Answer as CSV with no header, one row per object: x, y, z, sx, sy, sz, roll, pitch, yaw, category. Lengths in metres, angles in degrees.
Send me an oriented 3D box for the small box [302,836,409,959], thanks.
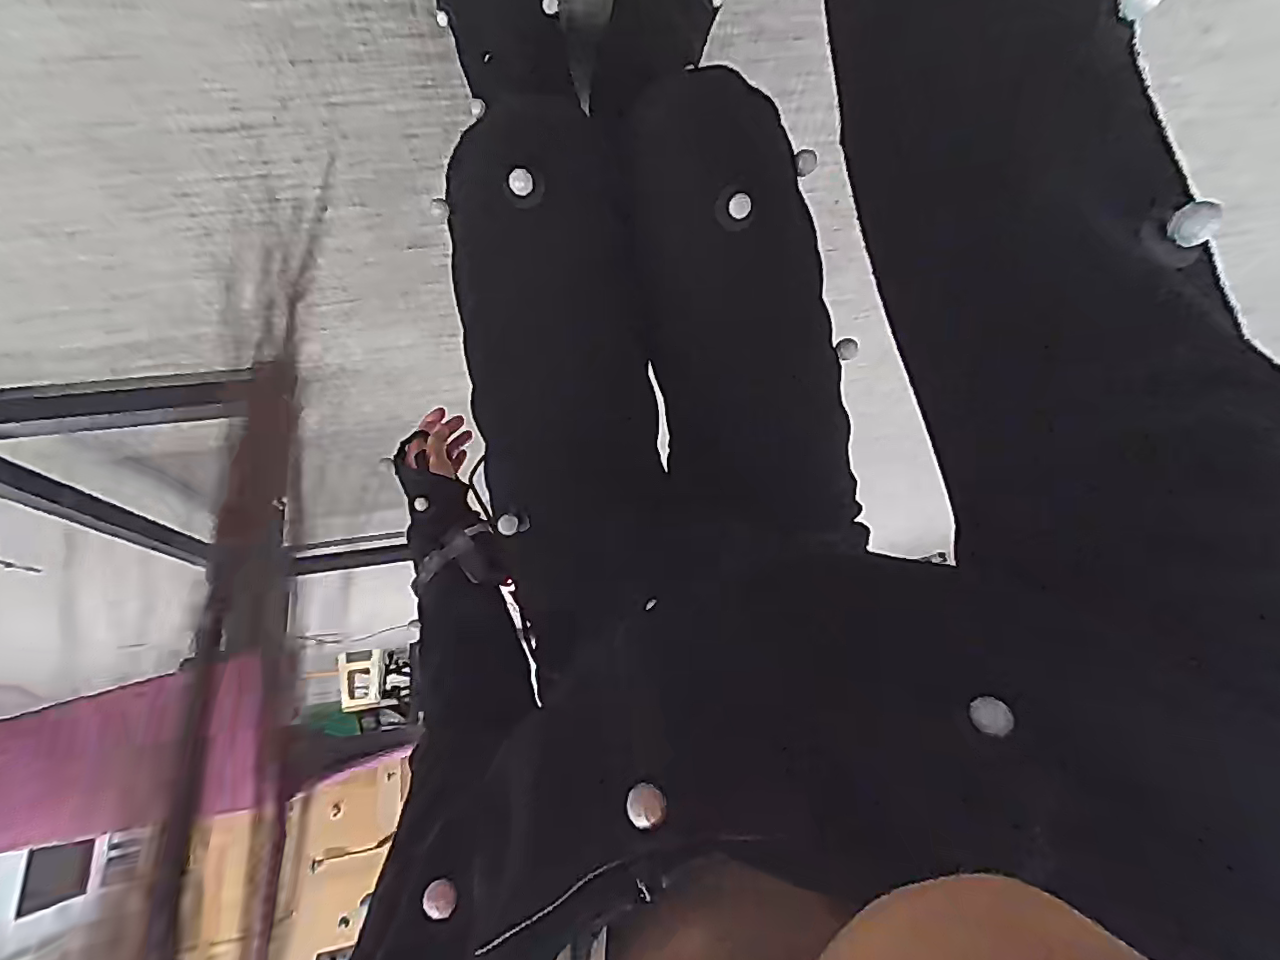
-0.626,0.907,1.196,0.179,0.176,0.168,-6,160,-9,small box

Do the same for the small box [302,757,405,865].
-0.660,0.757,1.256,0.168,0.176,0.179,-7,159,-9,small box

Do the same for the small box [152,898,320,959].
-0.589,0.749,0.791,0.168,0.176,0.179,-6,160,-10,small box

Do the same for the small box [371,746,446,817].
-0.689,0.896,1.611,0.179,0.176,0.168,-6,158,-8,small box
